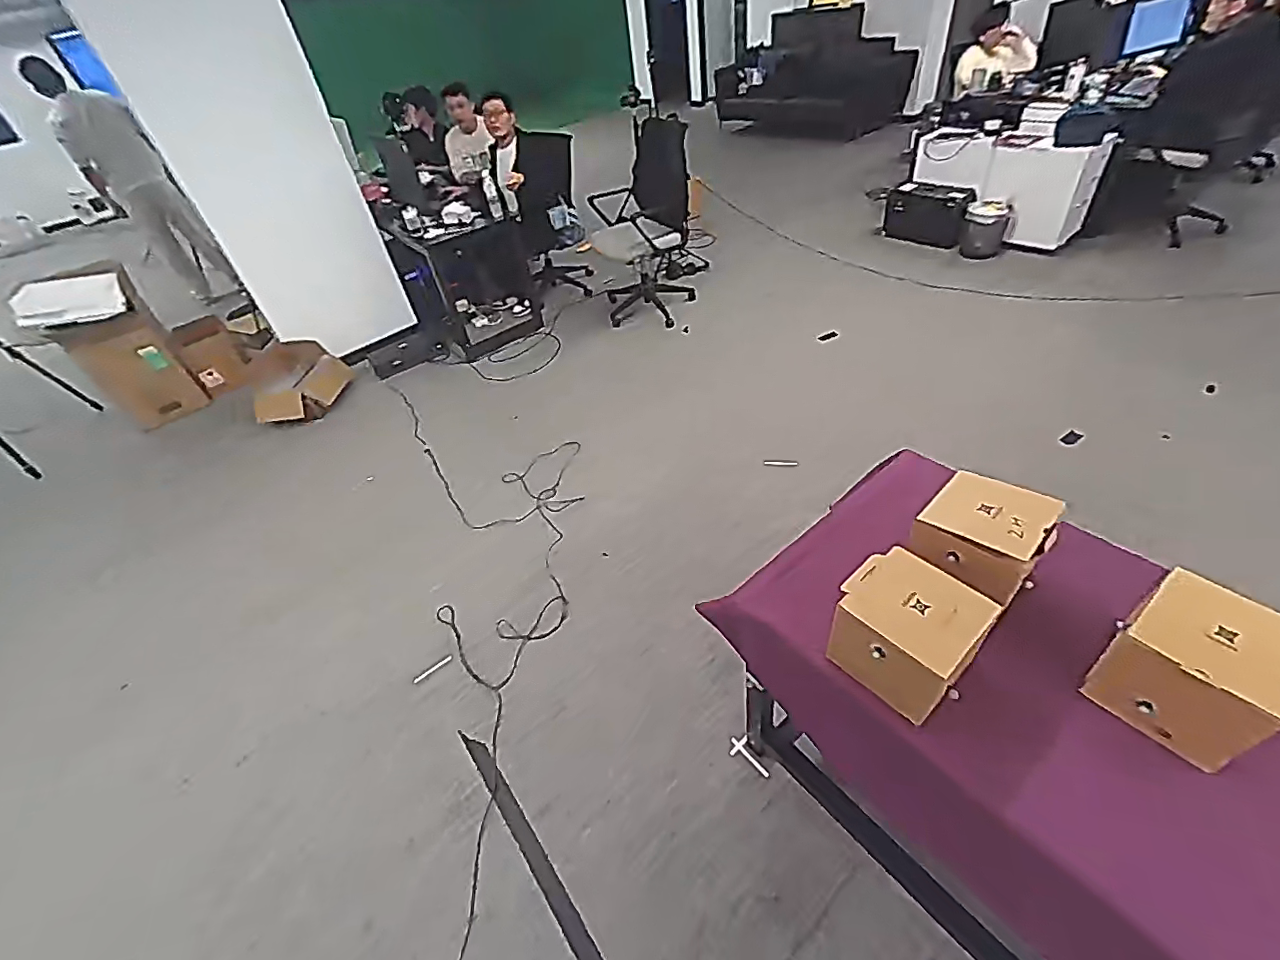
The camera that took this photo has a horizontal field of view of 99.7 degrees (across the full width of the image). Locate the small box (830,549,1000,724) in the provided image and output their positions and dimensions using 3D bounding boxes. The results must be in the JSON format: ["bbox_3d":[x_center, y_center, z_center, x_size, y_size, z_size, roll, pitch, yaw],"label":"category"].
[{"bbox_3d":[0.431,0.254,0.878,0.168,0.176,0.179,-34,48,-24],"label":"small box"}]

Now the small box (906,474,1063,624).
[{"bbox_3d":[0.607,0.125,0.983,0.168,0.176,0.179,-36,49,-25],"label":"small box"}]
